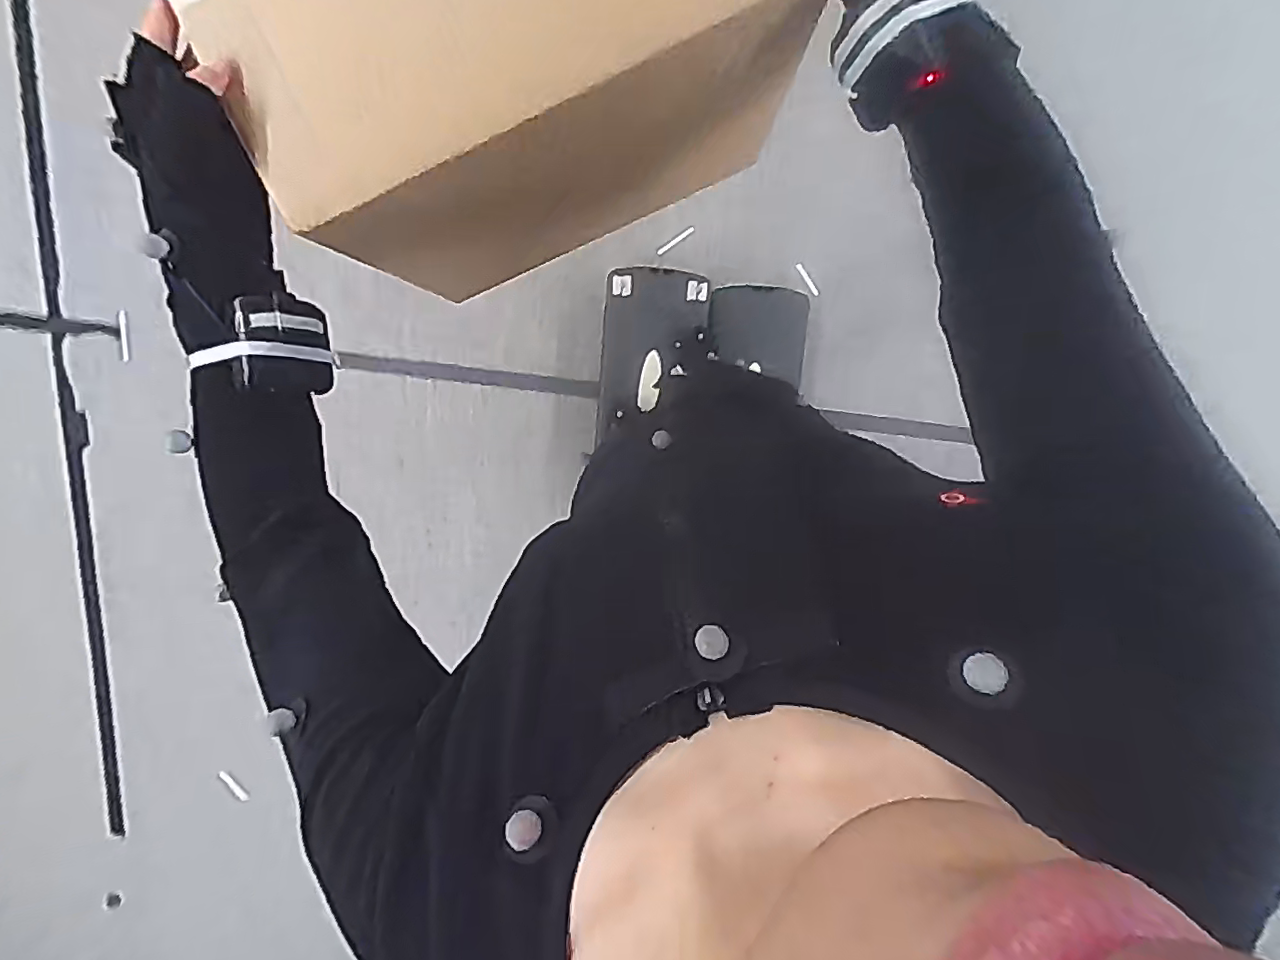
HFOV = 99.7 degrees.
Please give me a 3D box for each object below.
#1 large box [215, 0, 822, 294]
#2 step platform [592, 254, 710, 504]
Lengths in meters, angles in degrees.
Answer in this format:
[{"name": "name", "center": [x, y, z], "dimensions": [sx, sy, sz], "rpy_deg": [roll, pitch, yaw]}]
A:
[{"name": "large box", "center": [-0.103, -0.421, 0.493], "dimensions": [0.408, 0.320, 0.320], "rpy_deg": [-22, 98, 4]}, {"name": "step platform", "center": [0.024, -0.272, 1.535], "dimensions": [0.286, 0.204, 0.684], "rpy_deg": [4, 100, -1]}]
